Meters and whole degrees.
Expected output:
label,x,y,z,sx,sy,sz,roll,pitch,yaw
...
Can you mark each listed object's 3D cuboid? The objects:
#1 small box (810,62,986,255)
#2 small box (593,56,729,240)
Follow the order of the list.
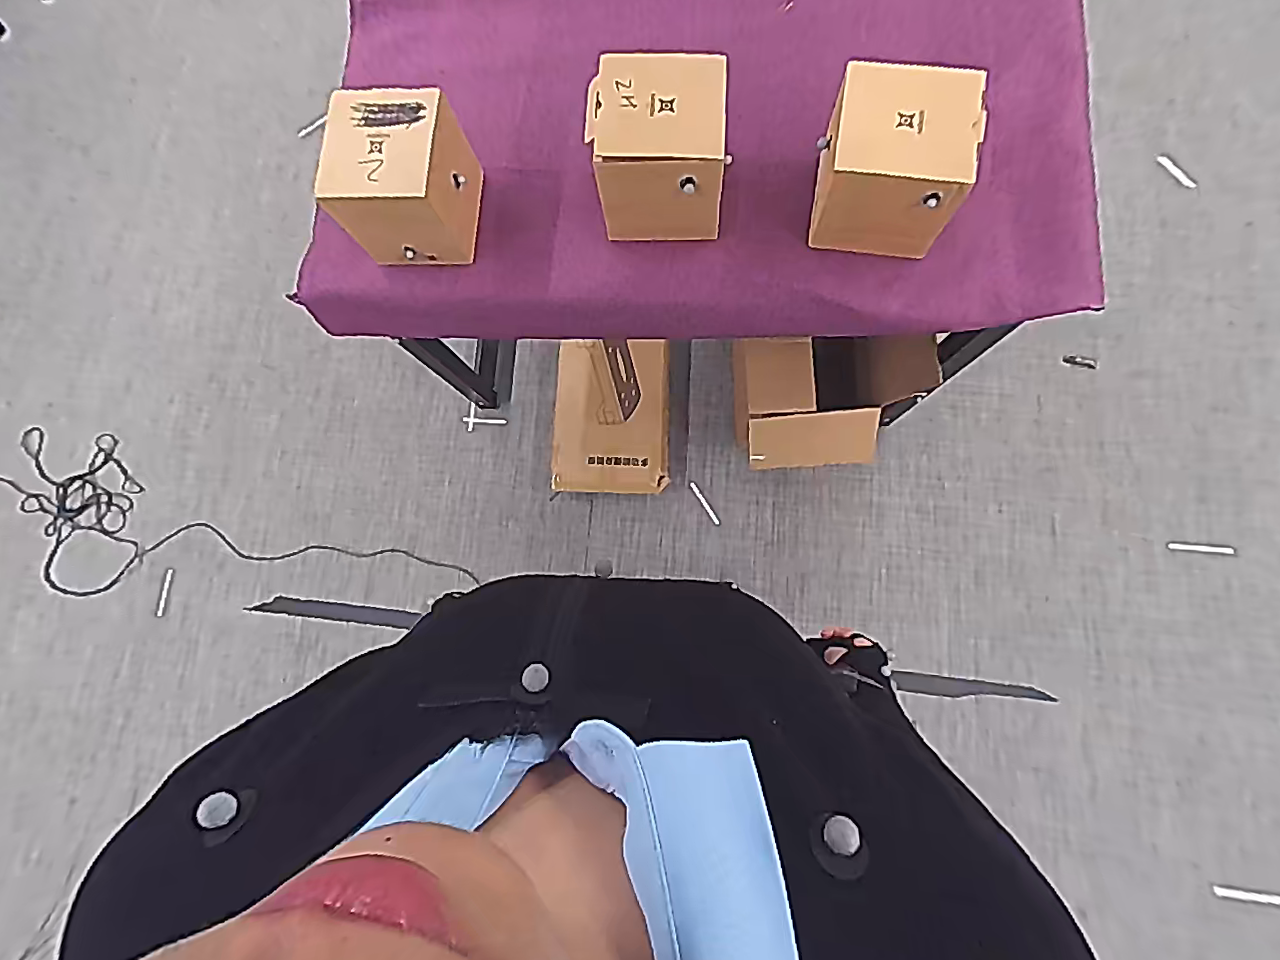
label,x,y,z,sx,sy,sz,roll,pitch,yaw
small box,0.350,-0.442,0.764,0.179,0.176,0.168,9,81,6
small box,0.035,-0.477,0.797,0.179,0.176,0.168,2,78,5
